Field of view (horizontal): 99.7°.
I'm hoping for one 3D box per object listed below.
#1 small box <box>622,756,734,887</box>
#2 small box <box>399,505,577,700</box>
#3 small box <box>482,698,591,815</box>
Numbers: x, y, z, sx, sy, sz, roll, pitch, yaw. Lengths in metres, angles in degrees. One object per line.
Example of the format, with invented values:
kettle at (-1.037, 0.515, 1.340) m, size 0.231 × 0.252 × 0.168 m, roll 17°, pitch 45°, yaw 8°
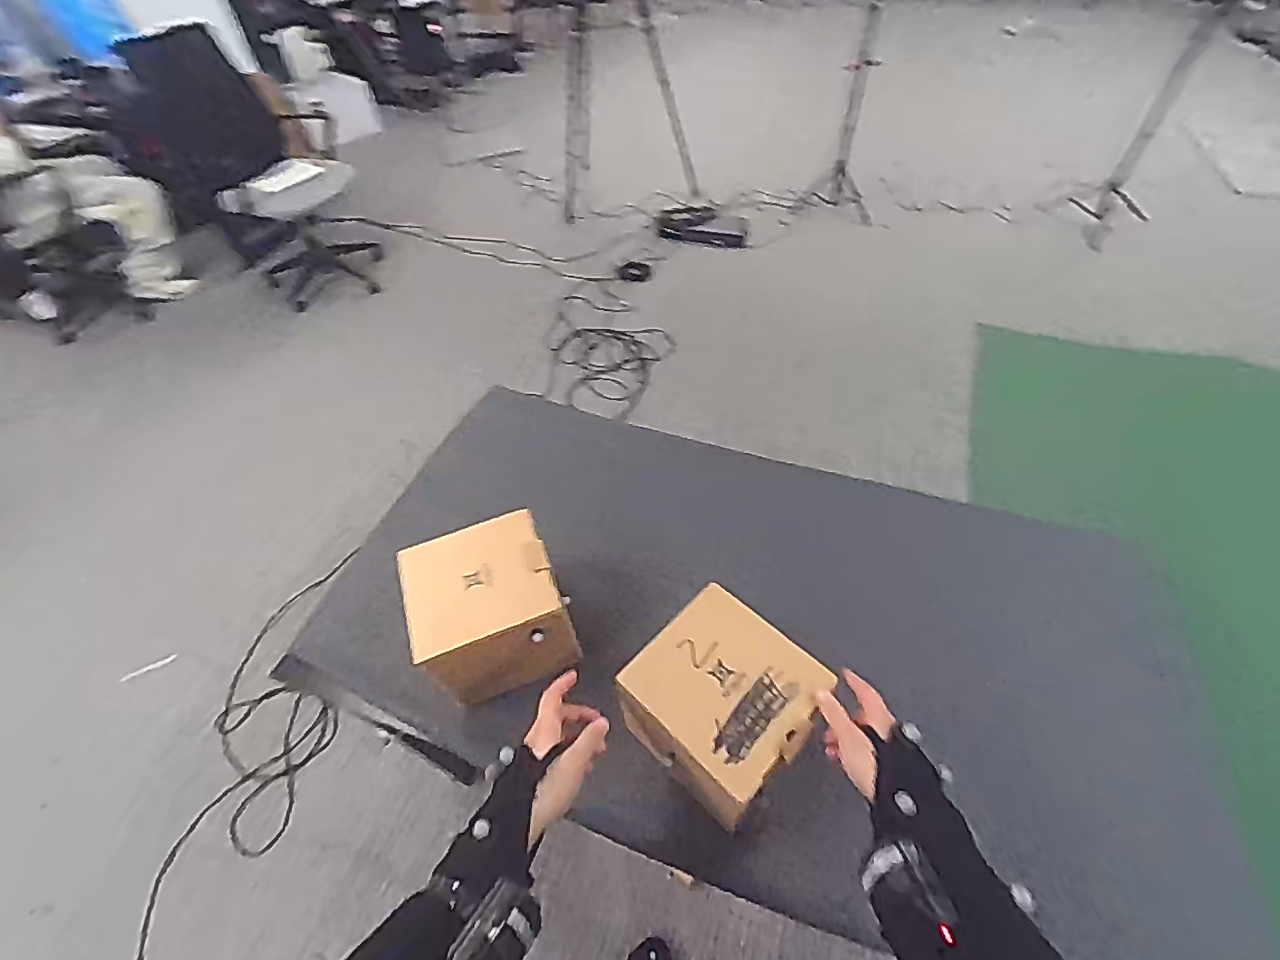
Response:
small box at (0.085, 0.744, 1.175) m, size 0.179 × 0.176 × 0.168 m, roll 31°, pitch 58°, yaw 28°
small box at (-0.198, 0.168, 0.728) m, size 0.179 × 0.176 × 0.168 m, roll -19°, pitch 51°, yaw -12°
small box at (-0.236, 0.655, 1.274) m, size 0.179 × 0.176 × 0.168 m, roll 23°, pitch 56°, yaw 22°
